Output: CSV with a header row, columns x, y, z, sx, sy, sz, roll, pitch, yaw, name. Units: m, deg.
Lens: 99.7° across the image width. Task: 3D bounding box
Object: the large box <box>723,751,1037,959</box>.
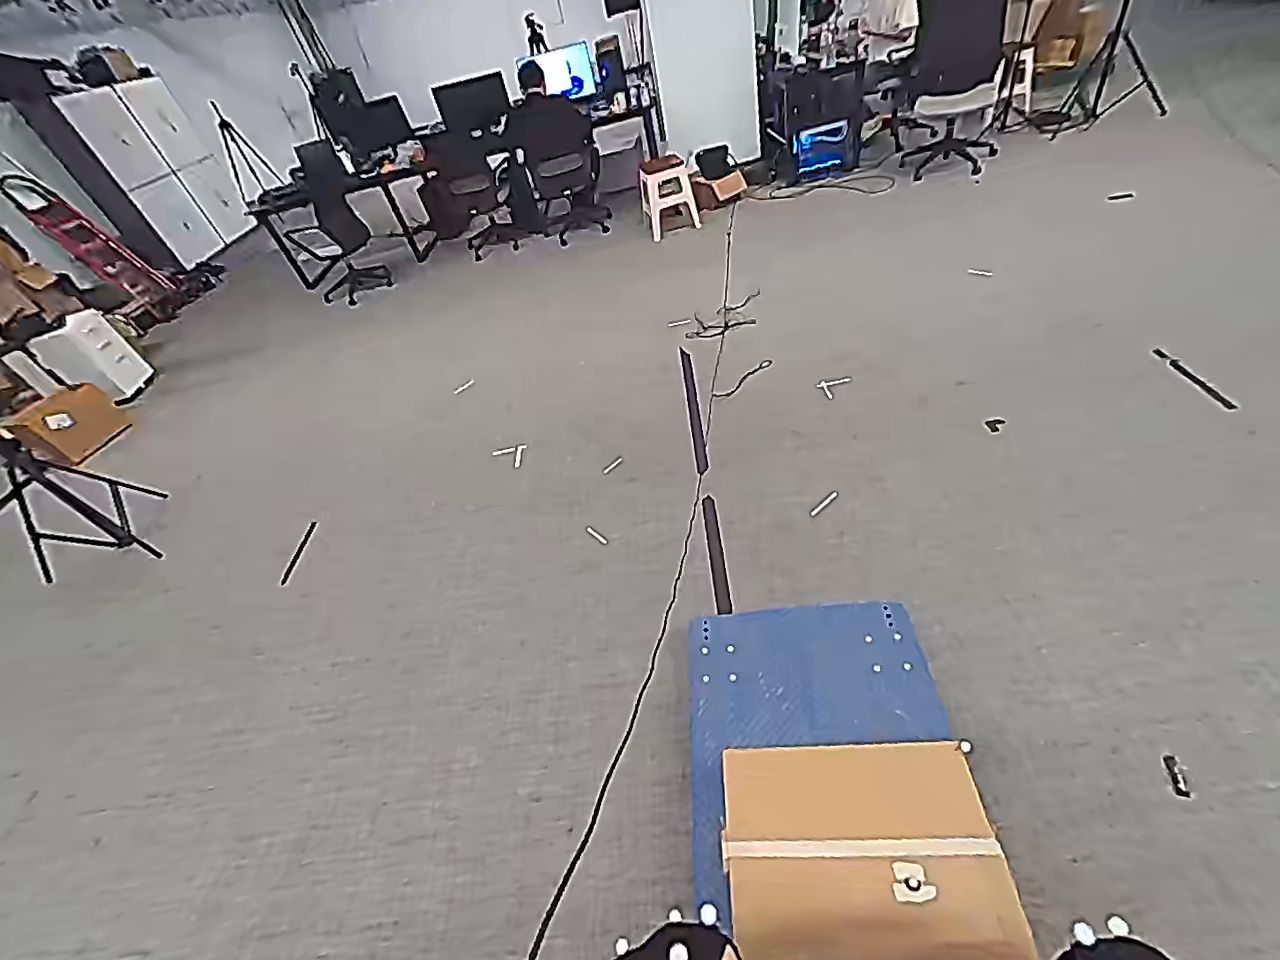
x,y,z,sx,sy,sz,roll,pitch,yaw,name
0.367,0.695,0.929,0.408,0.320,0.320,-7,42,10,large box
